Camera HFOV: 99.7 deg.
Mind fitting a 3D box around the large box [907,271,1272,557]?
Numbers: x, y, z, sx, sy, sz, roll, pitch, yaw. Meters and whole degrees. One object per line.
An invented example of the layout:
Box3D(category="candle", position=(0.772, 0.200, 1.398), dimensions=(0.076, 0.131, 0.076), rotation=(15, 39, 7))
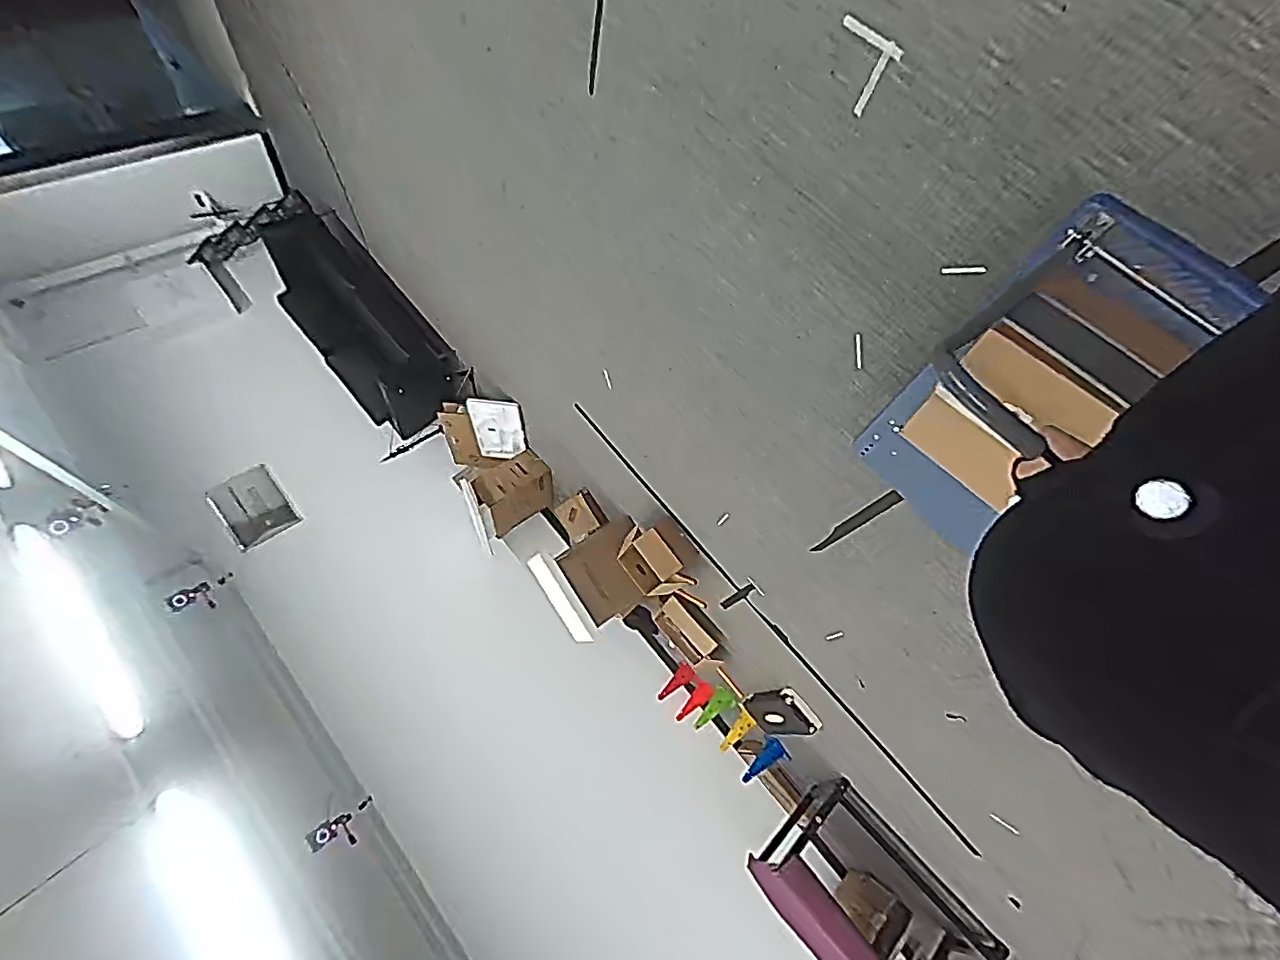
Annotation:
Box3D(category="large box", position=(0.851, -0.133, 1.070), dimensions=(0.408, 0.320, 0.320), rotation=(46, 152, 19))
